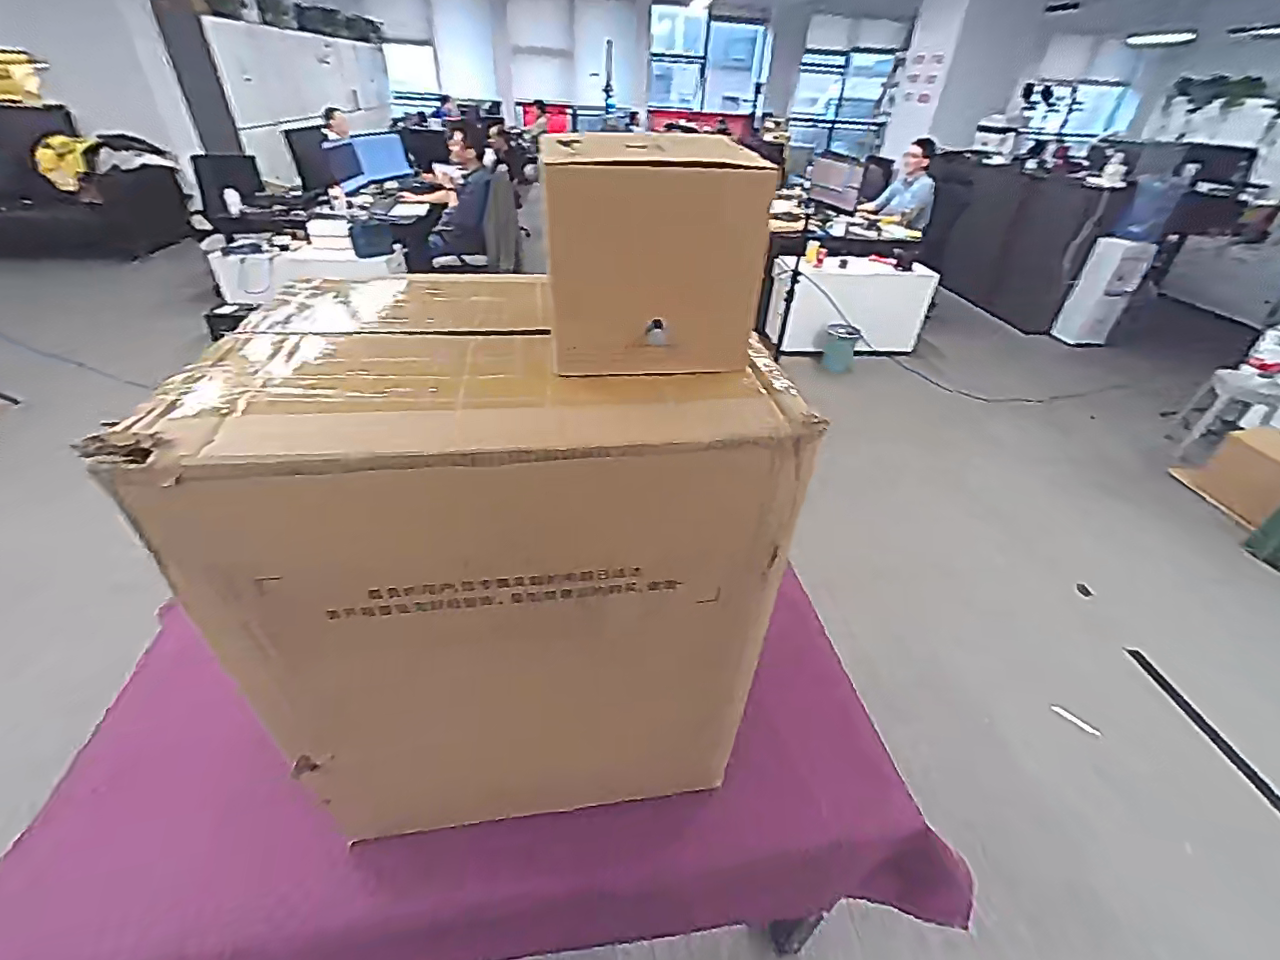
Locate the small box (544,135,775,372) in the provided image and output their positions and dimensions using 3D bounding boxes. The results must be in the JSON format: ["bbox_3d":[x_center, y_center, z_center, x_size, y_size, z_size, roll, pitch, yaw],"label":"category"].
[{"bbox_3d":[0.003,-0.210,0.505,0.179,0.176,0.168,-3,37,-8],"label":"small box"}]
